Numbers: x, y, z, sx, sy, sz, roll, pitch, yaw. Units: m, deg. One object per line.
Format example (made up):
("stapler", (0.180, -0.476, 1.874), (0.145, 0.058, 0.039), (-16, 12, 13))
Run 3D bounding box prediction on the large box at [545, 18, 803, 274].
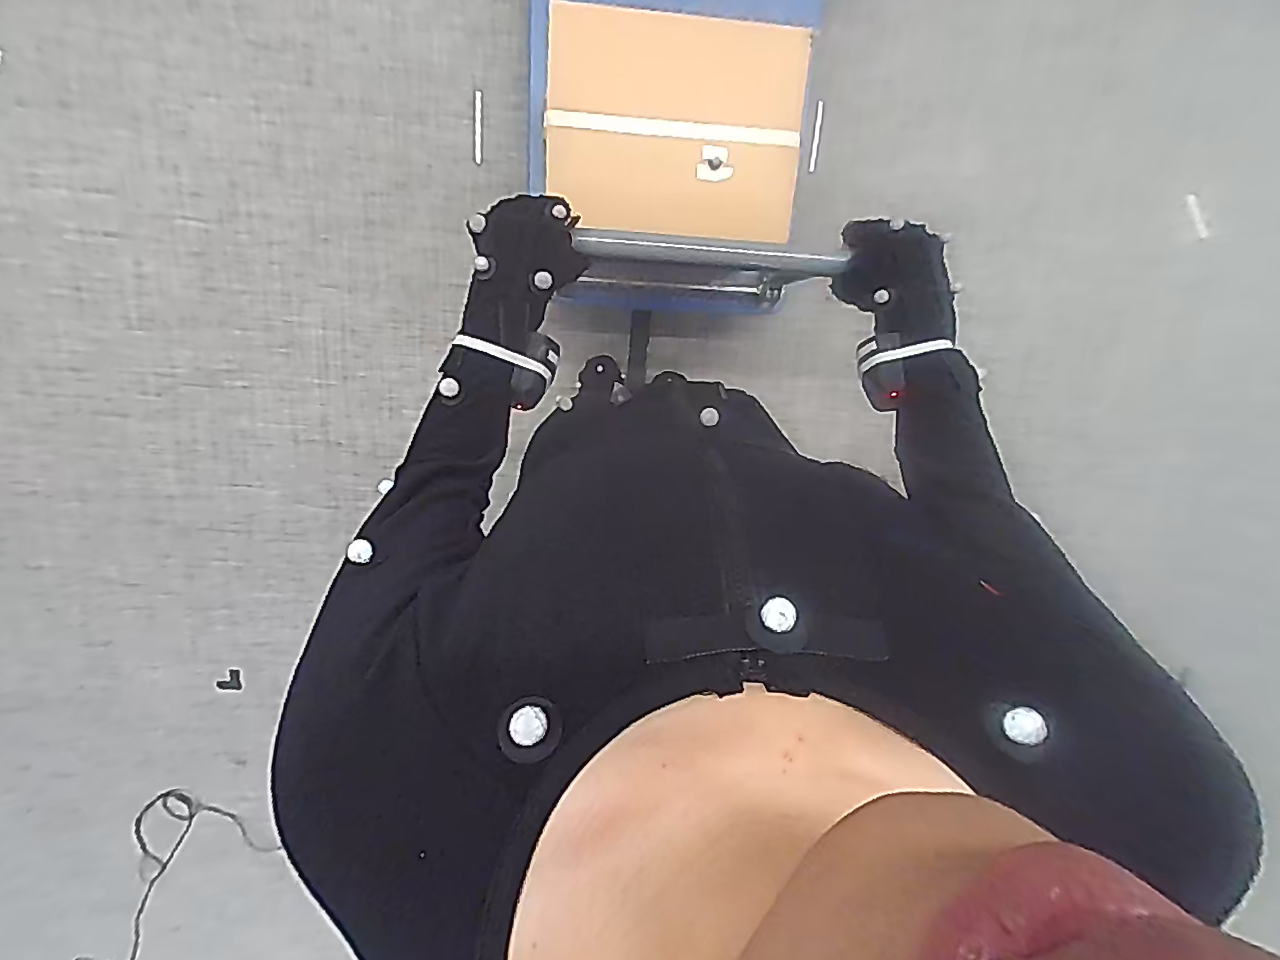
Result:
("large box", (0.038, -0.573, 1.002), (0.408, 0.320, 0.320), (2, 104, -5))
